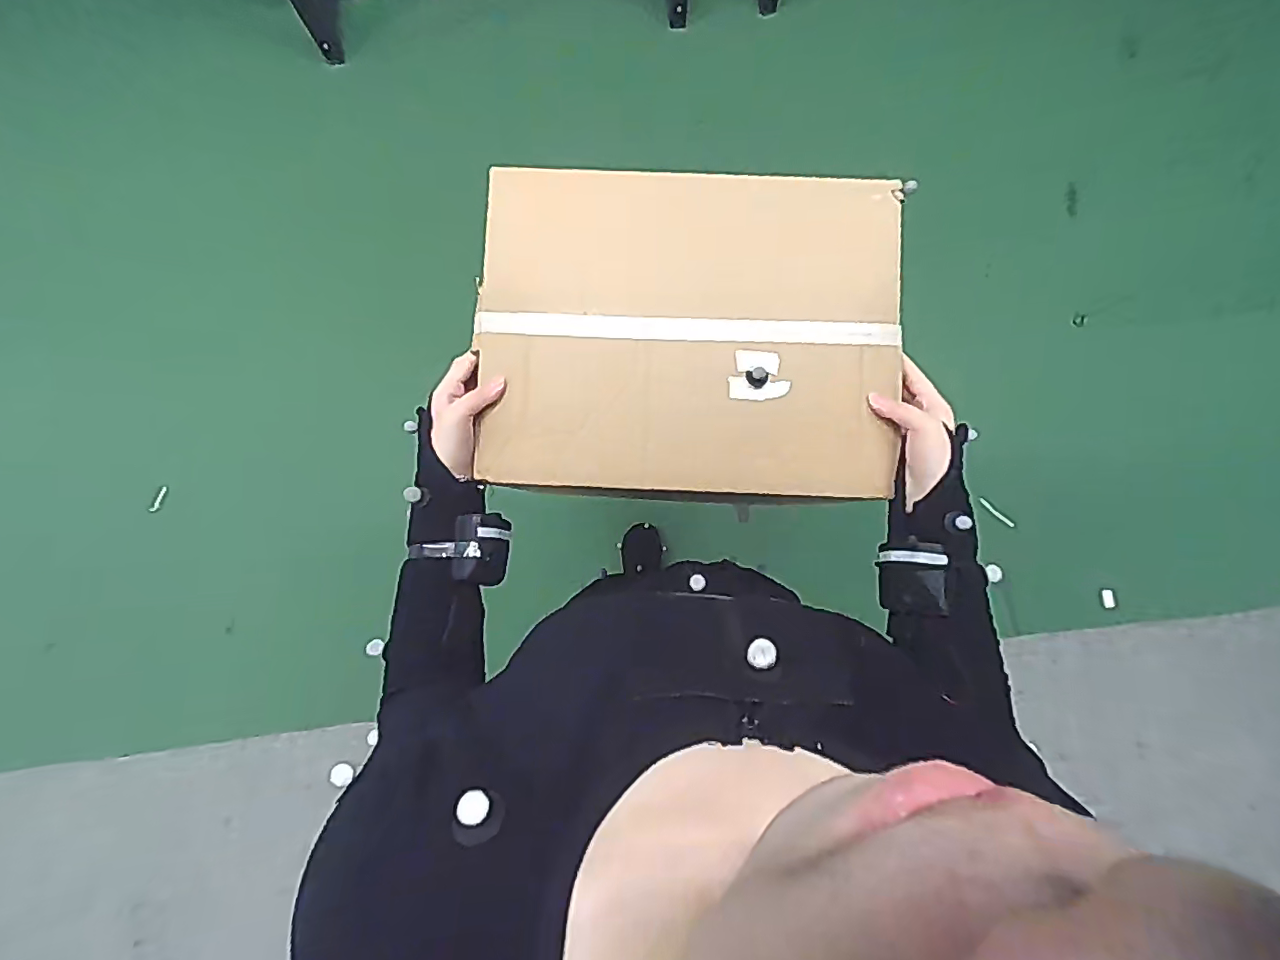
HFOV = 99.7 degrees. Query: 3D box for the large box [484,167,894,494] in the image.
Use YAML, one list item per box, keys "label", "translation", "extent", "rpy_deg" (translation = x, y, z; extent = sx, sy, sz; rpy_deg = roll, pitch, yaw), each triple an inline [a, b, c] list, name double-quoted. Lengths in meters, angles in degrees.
- label: "large box"
  translation: [0.047, -0.145, 0.677]
  extent: [0.408, 0.320, 0.320]
  rpy_deg: [2, 87, 0]
